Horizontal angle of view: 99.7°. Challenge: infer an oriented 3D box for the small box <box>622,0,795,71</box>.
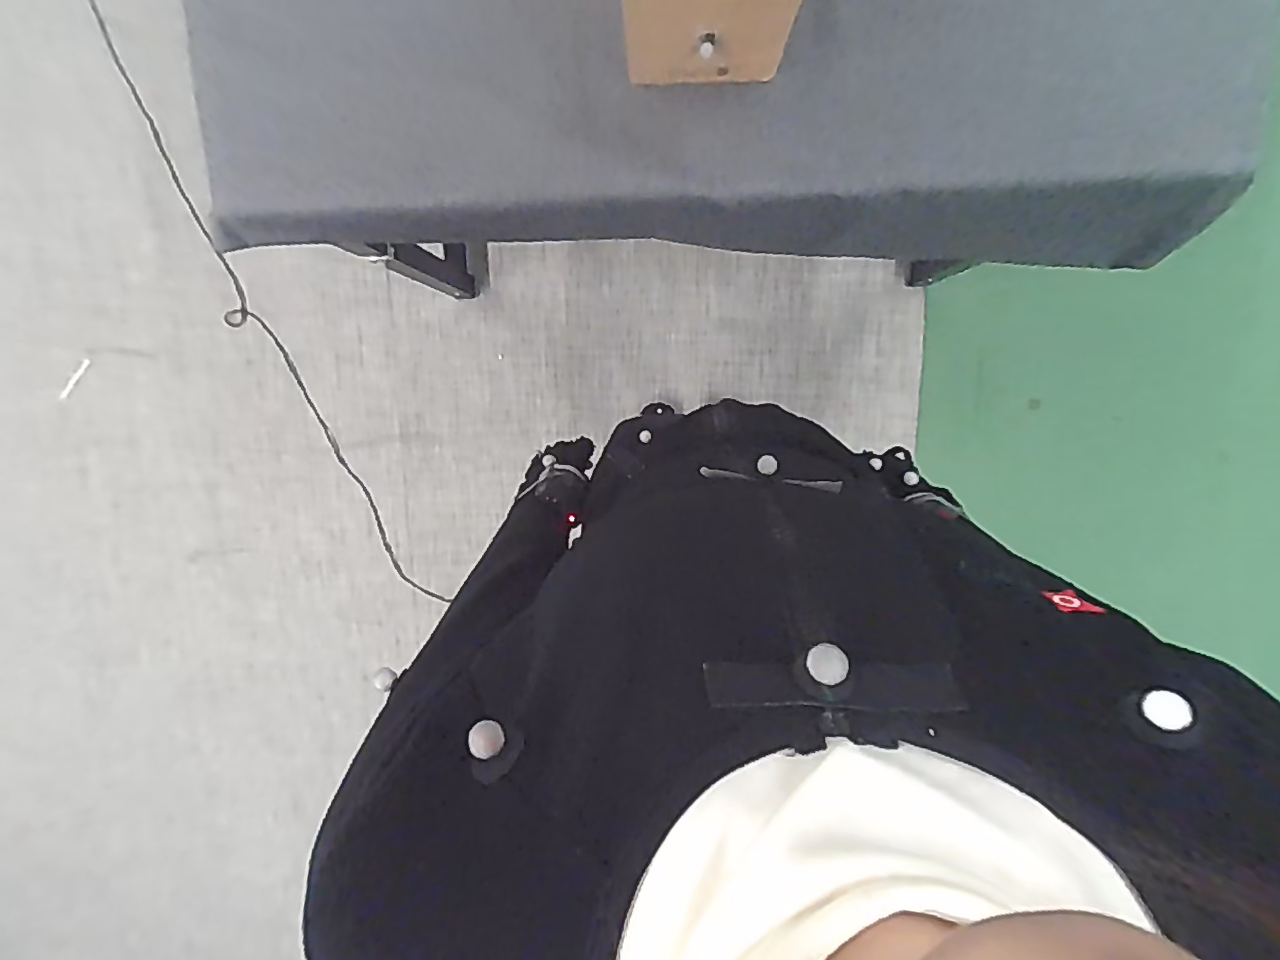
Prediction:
[{"bbox_3d":[0.067,-0.530,0.521,0.168,0.176,0.179,-1,100,4],"label":"small box"}]
